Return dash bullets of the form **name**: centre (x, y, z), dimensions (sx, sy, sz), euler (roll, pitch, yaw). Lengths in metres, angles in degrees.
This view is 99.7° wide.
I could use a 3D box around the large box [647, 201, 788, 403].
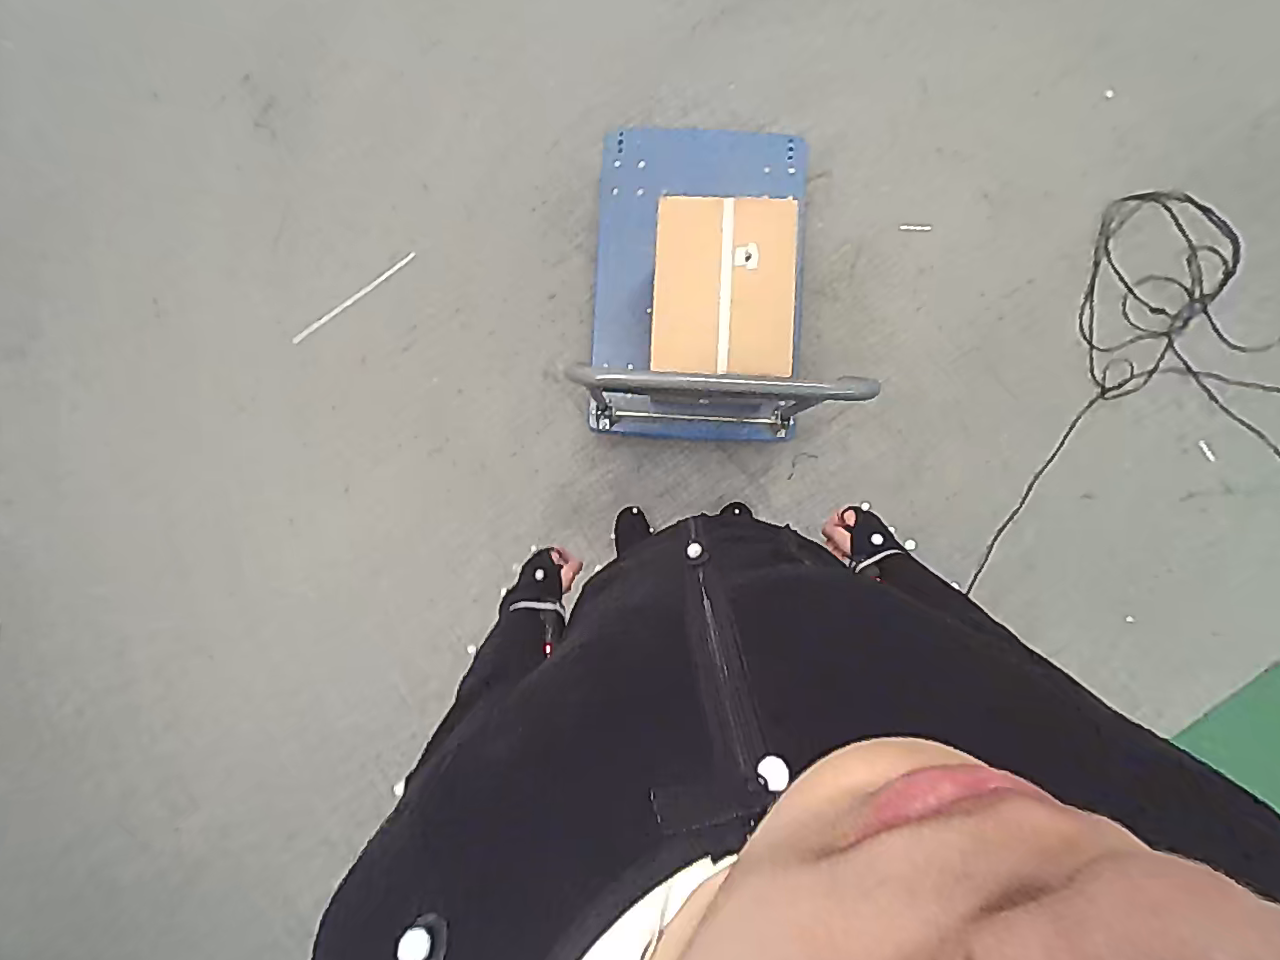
- **large box**: centre (0.182, -0.421, 1.364), dimensions (0.320, 0.320, 0.408), euler (3, 86, 1)
